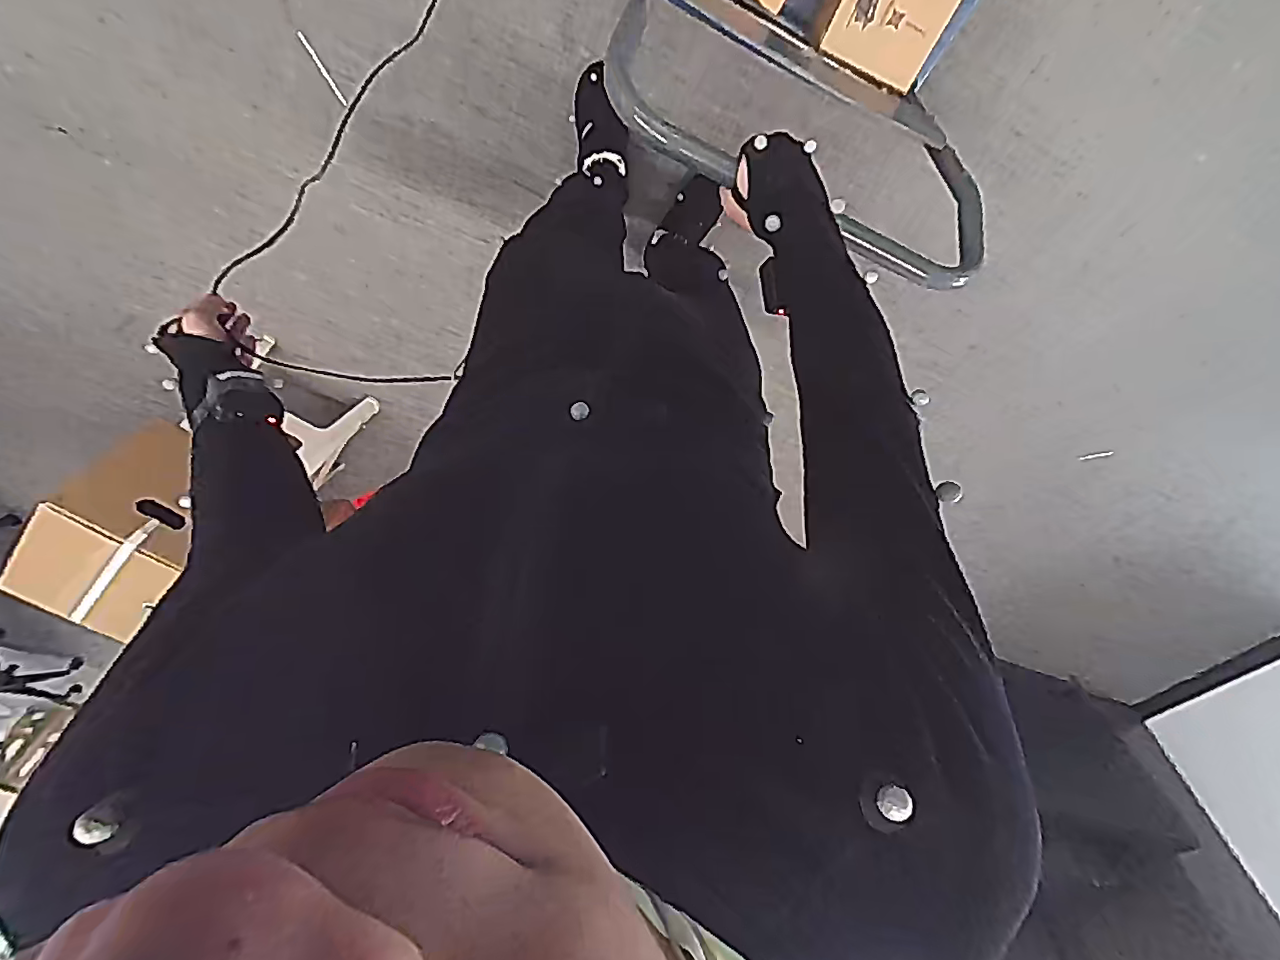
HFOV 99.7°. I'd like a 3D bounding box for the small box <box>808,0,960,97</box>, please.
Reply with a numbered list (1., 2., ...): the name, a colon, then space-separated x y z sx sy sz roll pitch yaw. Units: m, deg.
1. small box: 0.401 -0.785 0.903 0.179 0.176 0.168 17 137 -10
